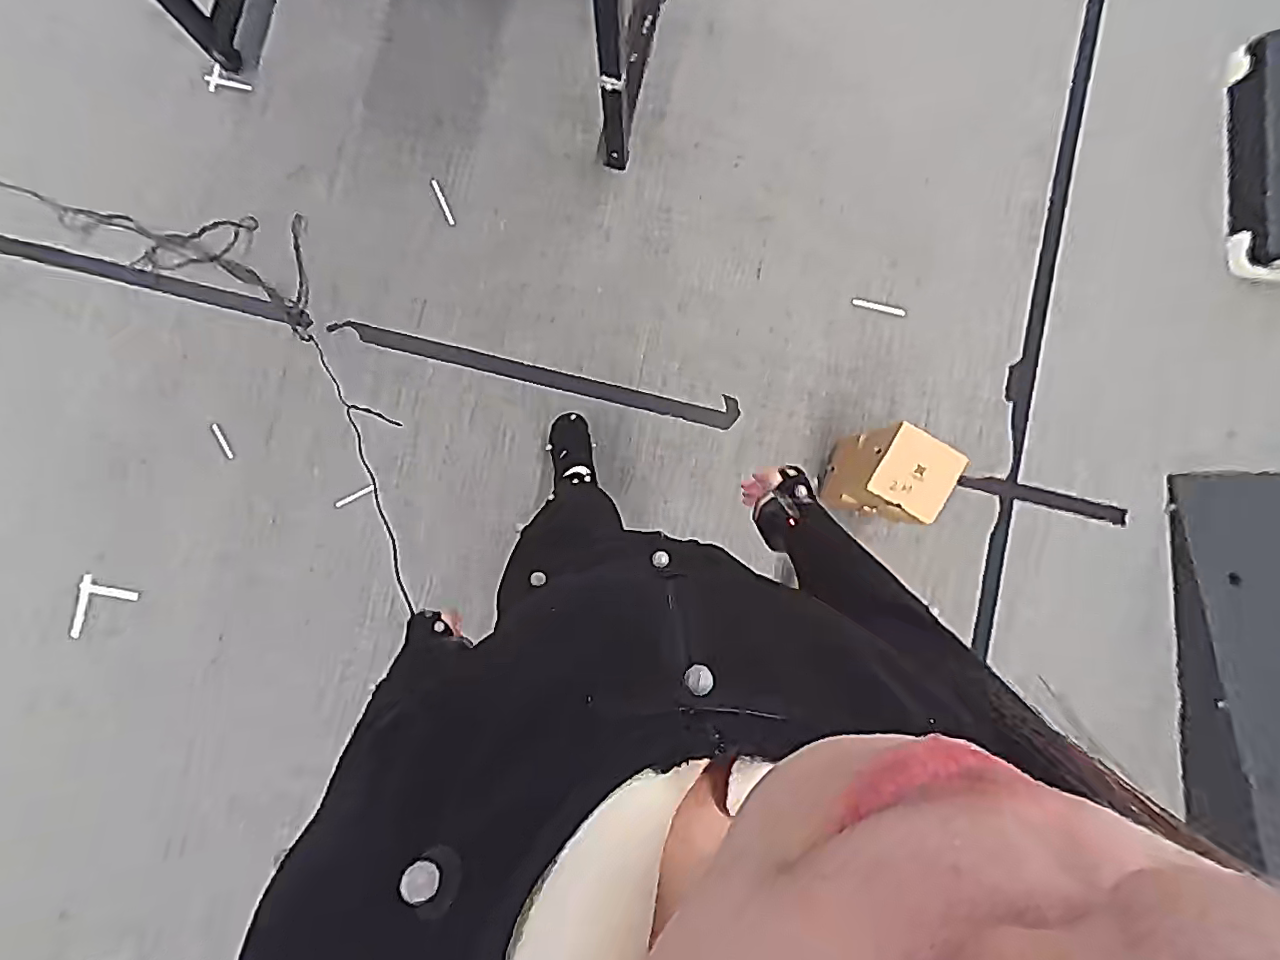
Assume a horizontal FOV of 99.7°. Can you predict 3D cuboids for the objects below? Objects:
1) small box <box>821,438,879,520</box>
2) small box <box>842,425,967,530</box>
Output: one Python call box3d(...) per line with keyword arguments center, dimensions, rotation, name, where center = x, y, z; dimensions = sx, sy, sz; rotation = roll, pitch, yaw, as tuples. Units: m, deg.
box3d(center=(0.598, 0.004, 1.424), dimensions=(0.168, 0.176, 0.179), rotation=(19, 89, 0), name="small box")
box3d(center=(0.603, -0.003, 1.258), dimensions=(0.168, 0.176, 0.179), rotation=(31, 88, 1), name="small box")
